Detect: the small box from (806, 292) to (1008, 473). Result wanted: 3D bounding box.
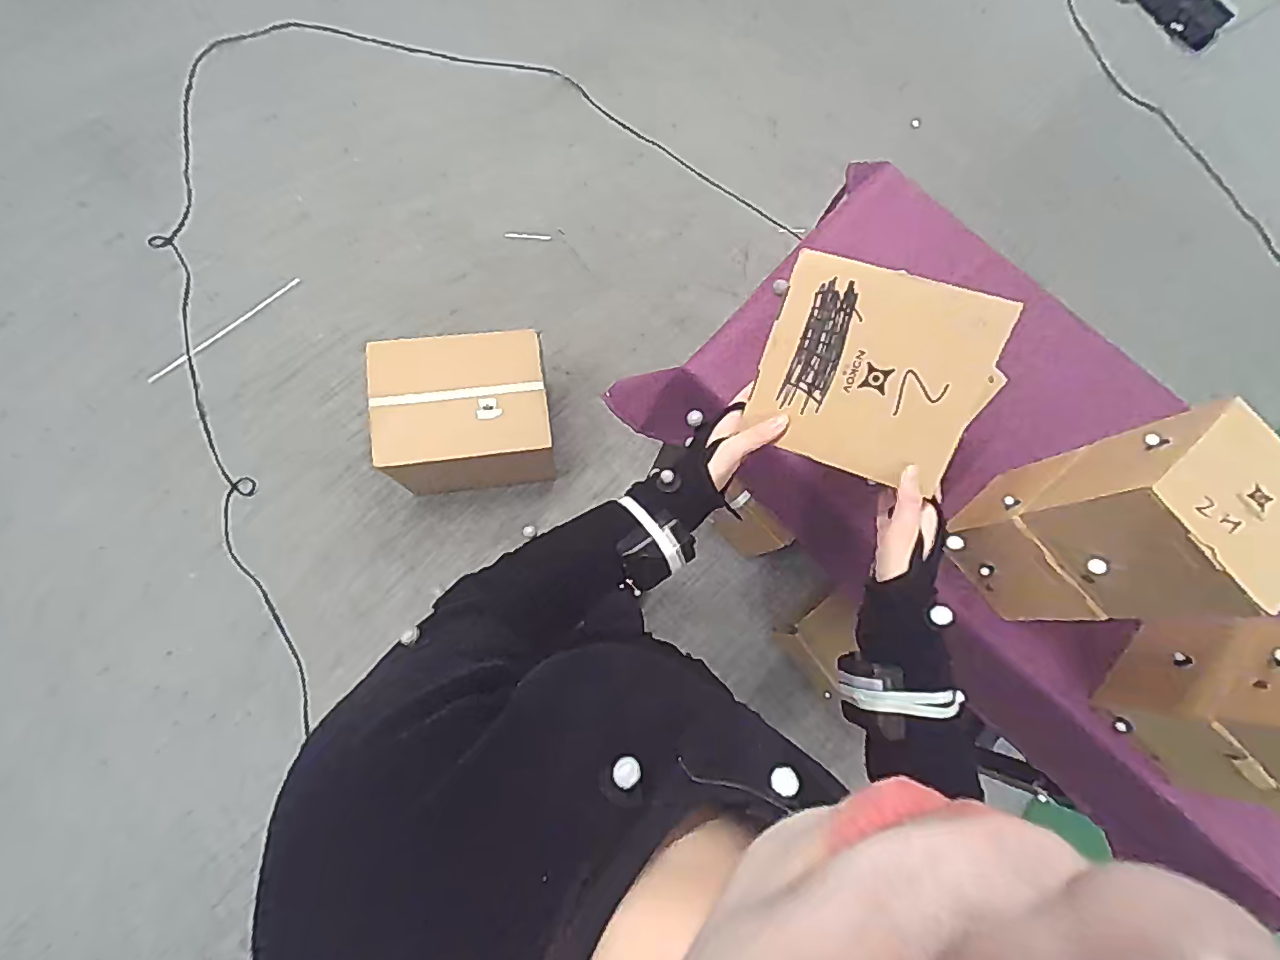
[{"bbox_3d":[0.384,-0.135,0.813,0.168,0.176,0.179,-42,84,-13],"label":"small box"}]

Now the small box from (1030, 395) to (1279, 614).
[{"bbox_3d":[0.616,0.036,0.630,0.179,0.176,0.168,-36,83,-13],"label":"small box"}]

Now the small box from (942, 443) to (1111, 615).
[{"bbox_3d":[0.593,0.076,0.788,0.179,0.176,0.168,-37,83,-12],"label":"small box"}]

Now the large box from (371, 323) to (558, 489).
[{"bbox_3d":[-0.436,-0.179,1.414,0.408,0.320,0.320,-7,79,-9],"label":"large box"}]

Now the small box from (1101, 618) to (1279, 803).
[{"bbox_3d":[0.807,0.313,0.754,0.179,0.176,0.168,-42,84,-14],"label":"small box"}]

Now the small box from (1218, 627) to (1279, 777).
[{"bbox_3d":[0.829,0.277,0.597,0.168,0.176,0.179,-41,84,-14],"label":"small box"}]
